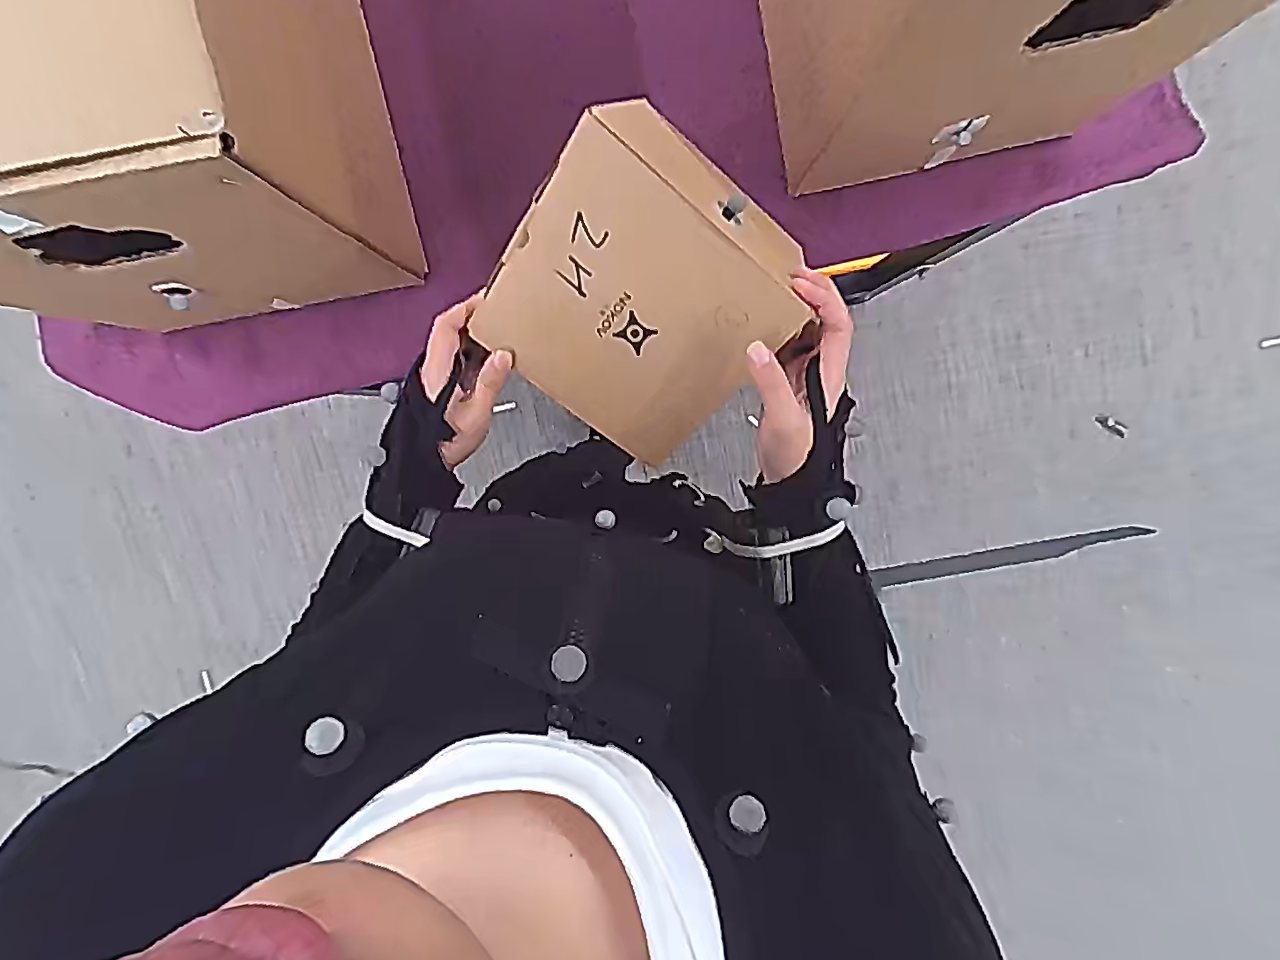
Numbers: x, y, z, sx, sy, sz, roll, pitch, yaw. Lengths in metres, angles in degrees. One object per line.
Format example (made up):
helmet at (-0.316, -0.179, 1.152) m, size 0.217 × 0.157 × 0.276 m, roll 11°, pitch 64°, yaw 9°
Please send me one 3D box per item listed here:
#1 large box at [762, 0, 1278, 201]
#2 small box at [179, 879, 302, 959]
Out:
large box at (0.269, -0.503, 0.406) m, size 0.320 × 0.320 × 0.408 m, roll -12°, pitch 95°, yaw 1°
small box at (-1.050, 1.215, 1.435) m, size 0.179 × 0.176 × 0.168 m, roll -15°, pitch 98°, yaw 2°
